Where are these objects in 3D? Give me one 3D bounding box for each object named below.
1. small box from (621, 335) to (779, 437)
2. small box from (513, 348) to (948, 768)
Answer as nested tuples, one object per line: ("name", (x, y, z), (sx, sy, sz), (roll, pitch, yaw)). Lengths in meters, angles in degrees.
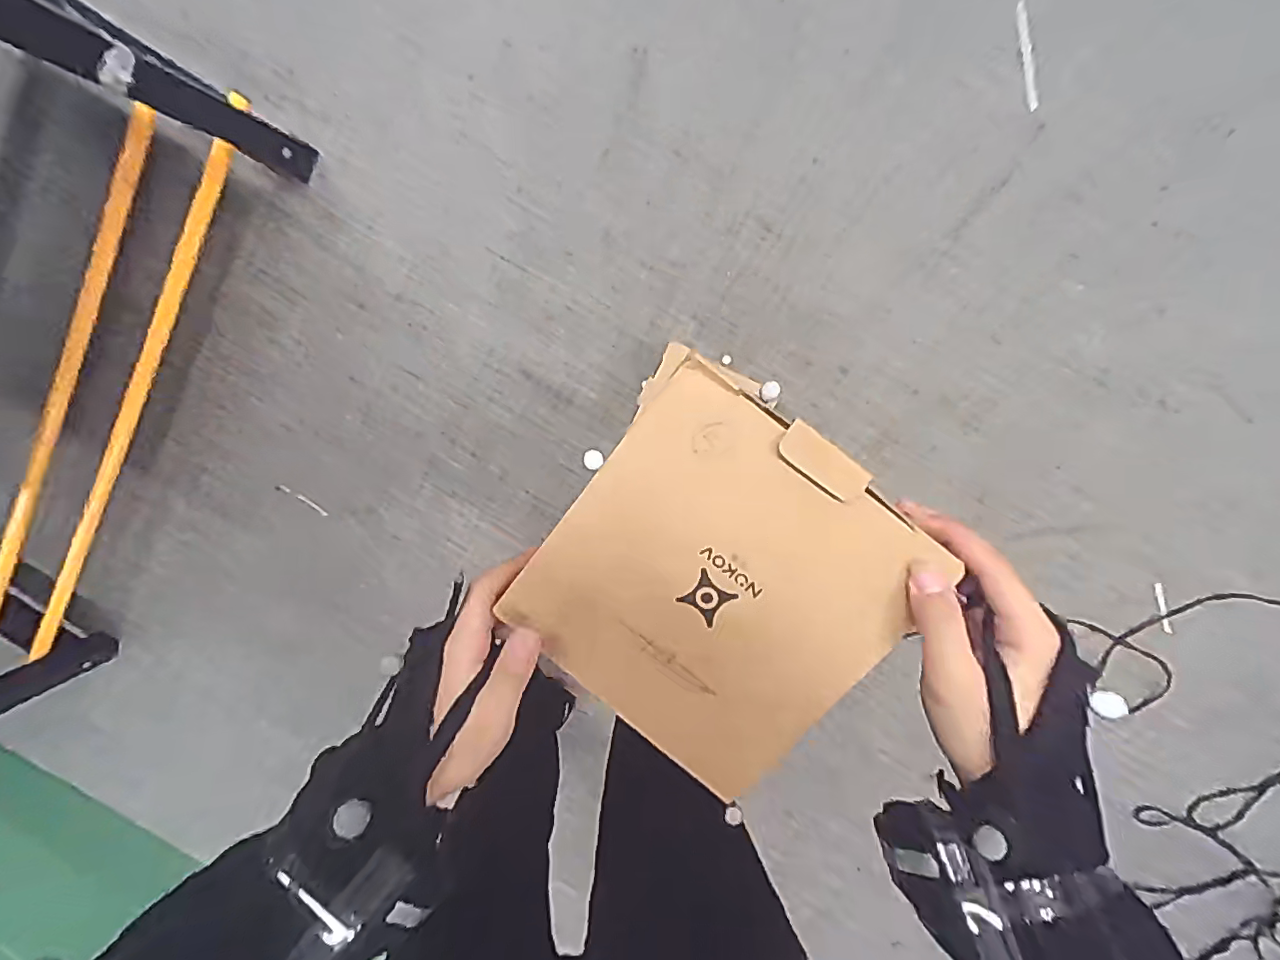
("small box", (0.093, -0.110, 0.853), (0.179, 0.176, 0.168), (27, 104, 1))
("small box", (0.052, 0.034, 0.364), (0.168, 0.176, 0.179), (38, 104, 3))
